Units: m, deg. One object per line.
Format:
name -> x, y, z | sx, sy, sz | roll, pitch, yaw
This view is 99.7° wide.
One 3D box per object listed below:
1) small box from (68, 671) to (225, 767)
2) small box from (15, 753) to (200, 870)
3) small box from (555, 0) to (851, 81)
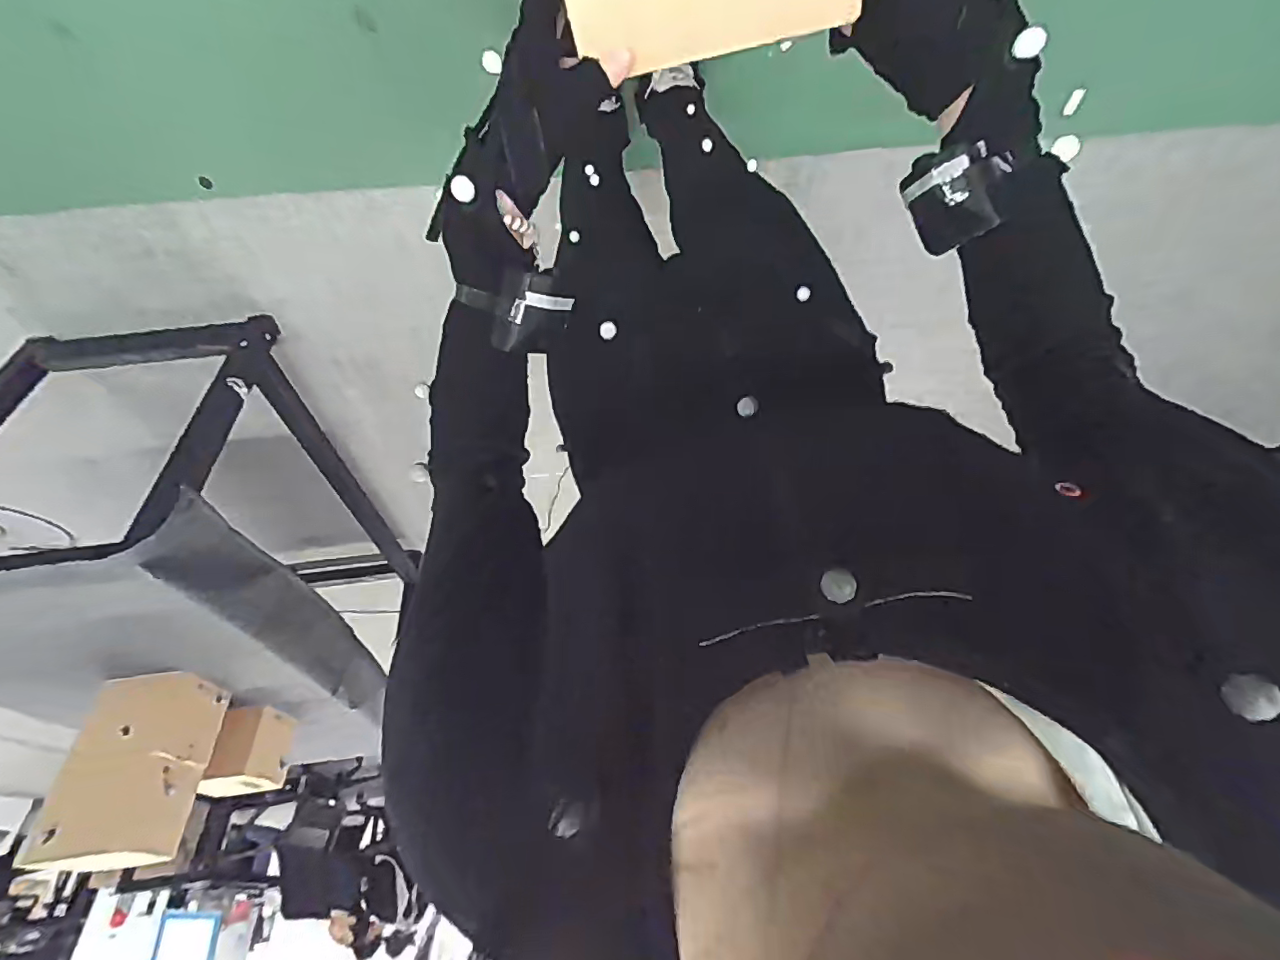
small box -> -1.056, 0.530, 1.183 | 0.179, 0.176, 0.168 | -7, 141, -2
small box -> -1.051, 0.666, 1.089 | 0.179, 0.176, 0.168 | -8, 142, -1
small box -> 0.026, -0.381, 0.323 | 0.179, 0.176, 0.168 | -8, 145, 8
